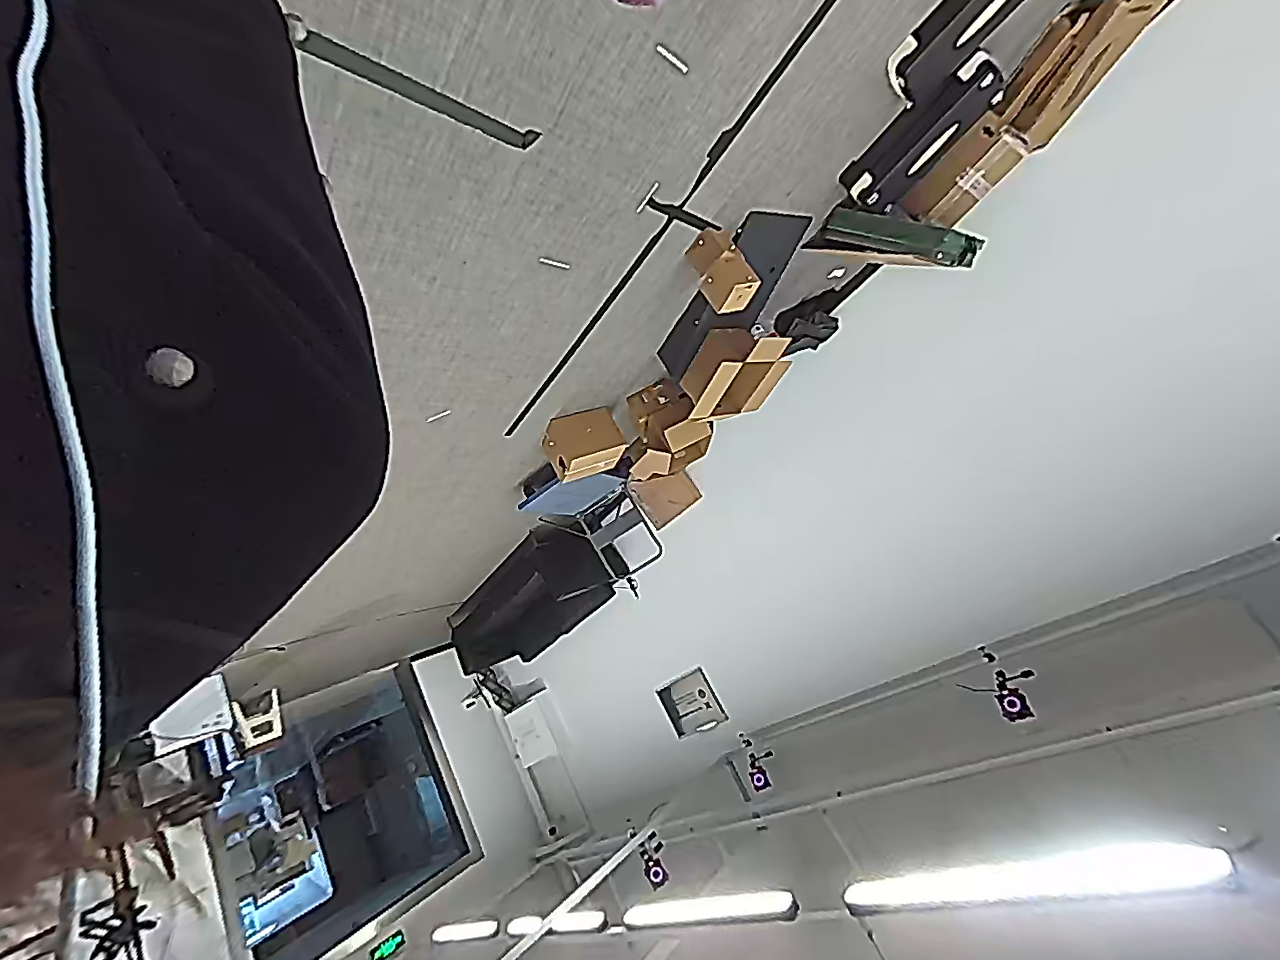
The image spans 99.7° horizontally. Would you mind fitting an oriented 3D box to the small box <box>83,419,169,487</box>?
[{"bbox_3d":[-1.764,-0.095,1.850,0.168,0.176,0.179,-40,162,30],"label":"small box"}]
